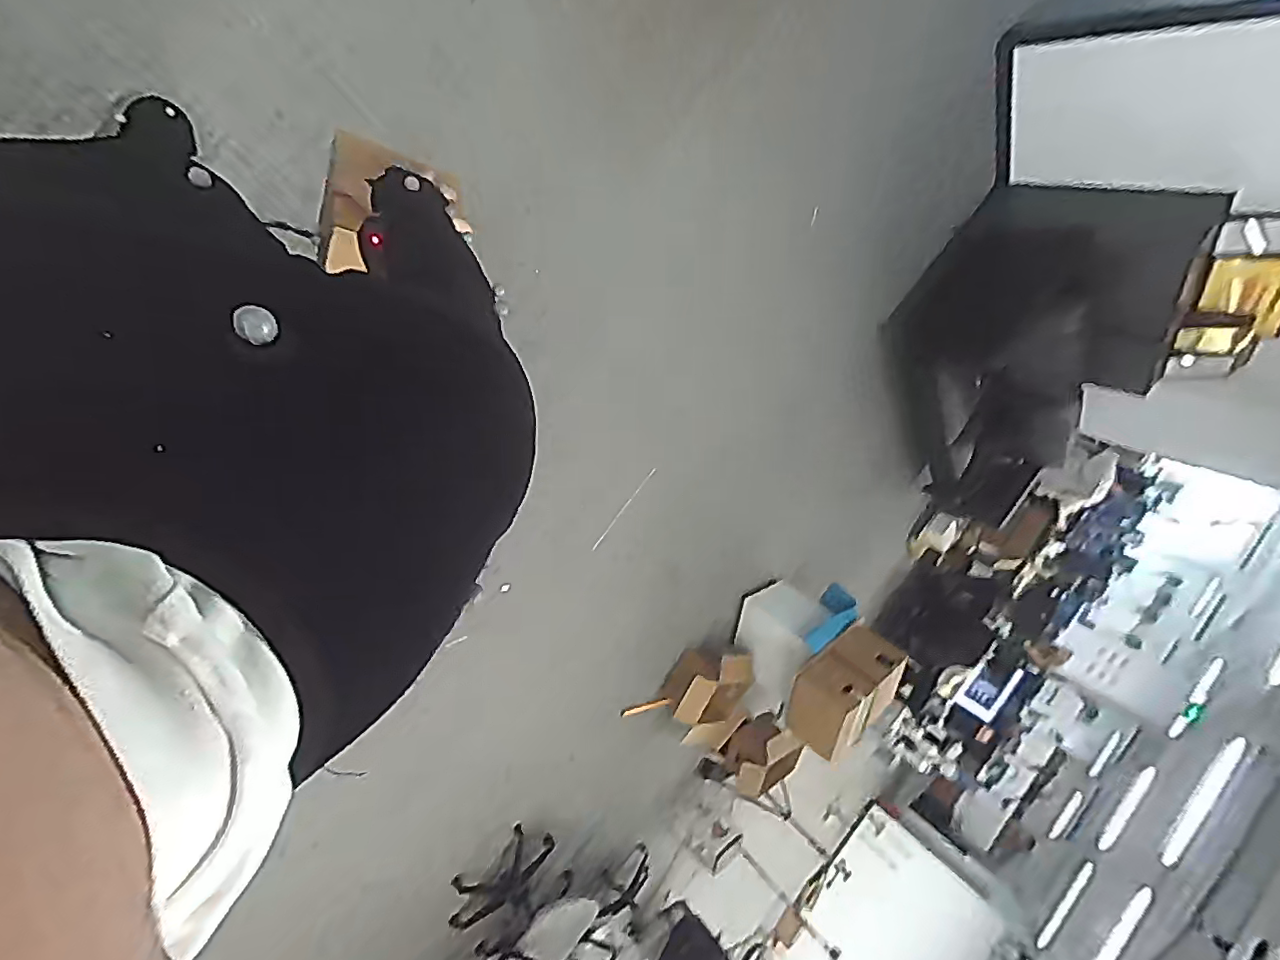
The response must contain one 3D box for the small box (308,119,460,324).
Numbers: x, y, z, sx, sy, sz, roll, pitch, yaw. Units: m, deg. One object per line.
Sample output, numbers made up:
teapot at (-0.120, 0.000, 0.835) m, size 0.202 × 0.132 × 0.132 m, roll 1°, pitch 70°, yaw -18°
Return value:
small box at (-0.371, -0.356, 0.780) m, size 0.168 × 0.179 × 0.176 m, roll 5°, pitch 154°, yaw -38°
